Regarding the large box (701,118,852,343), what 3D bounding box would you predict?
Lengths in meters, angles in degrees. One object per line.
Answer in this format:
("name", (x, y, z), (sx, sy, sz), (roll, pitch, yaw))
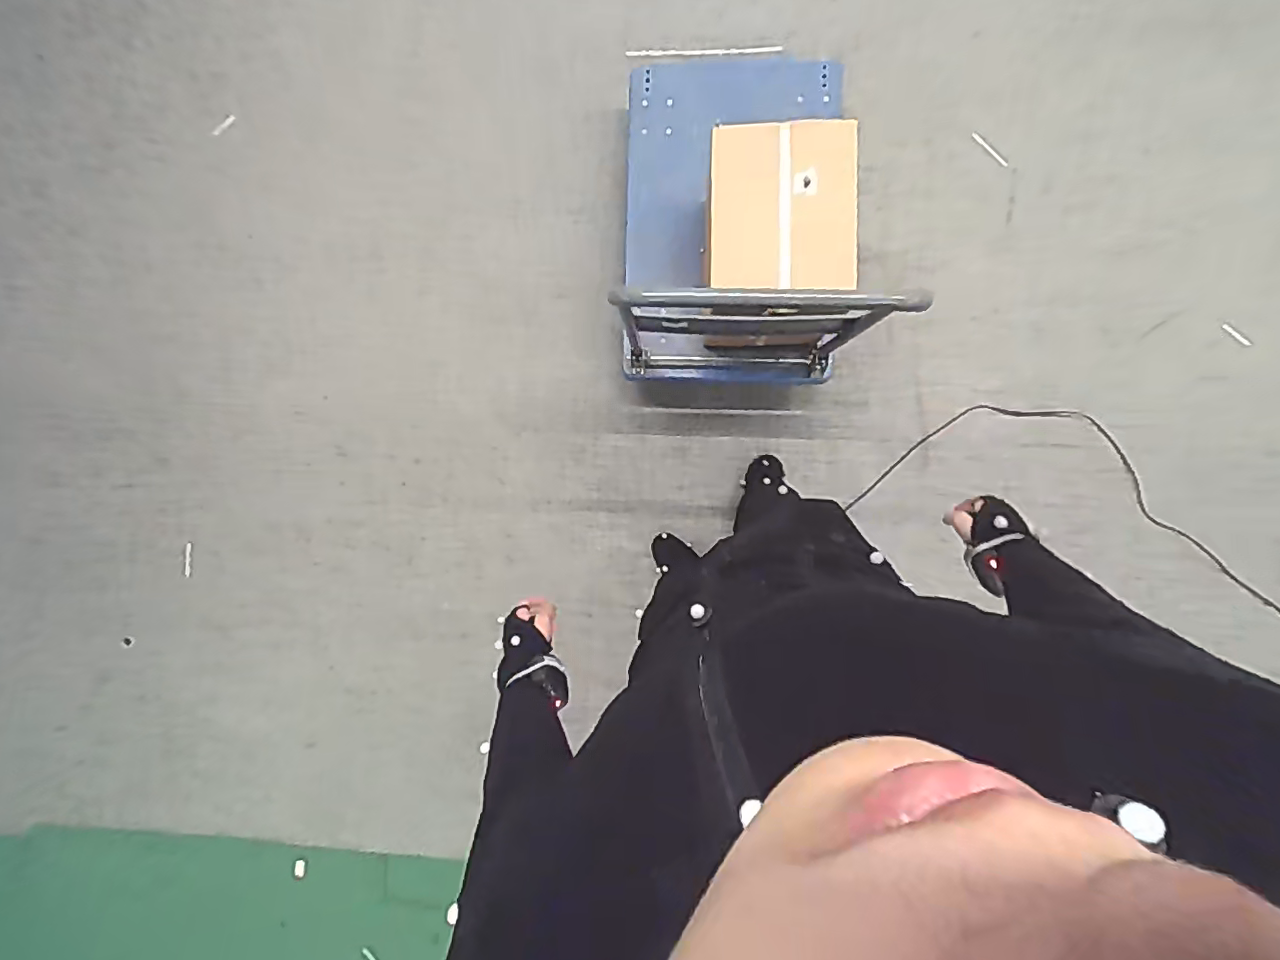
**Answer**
("large box", (0.307, -0.571, 1.309), (0.320, 0.320, 0.408), (0, 89, 3))
